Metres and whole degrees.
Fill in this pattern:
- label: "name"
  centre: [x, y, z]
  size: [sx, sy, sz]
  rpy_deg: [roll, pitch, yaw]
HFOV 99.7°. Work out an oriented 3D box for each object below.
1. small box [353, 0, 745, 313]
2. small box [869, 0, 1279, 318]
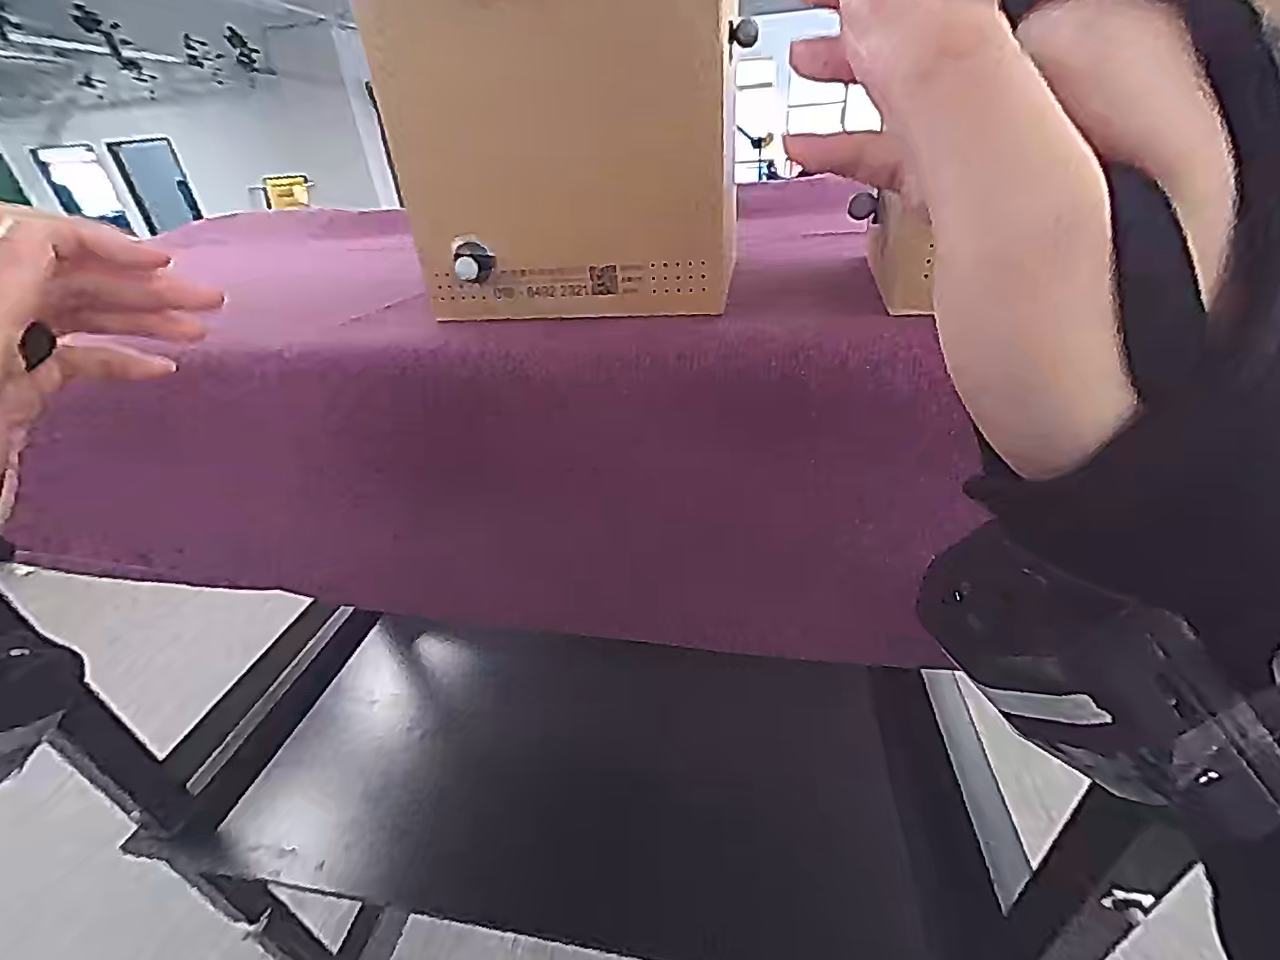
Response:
- label: "small box"
  centre: [-0.025, -0.200, 0.319]
  size: [0.168, 0.176, 0.179]
  rpy_deg: [3, 31, 11]
- label: "small box"
  centre: [0.218, -0.179, 0.254]
  size: [0.179, 0.176, 0.168]
  rpy_deg: [4, 31, 16]
